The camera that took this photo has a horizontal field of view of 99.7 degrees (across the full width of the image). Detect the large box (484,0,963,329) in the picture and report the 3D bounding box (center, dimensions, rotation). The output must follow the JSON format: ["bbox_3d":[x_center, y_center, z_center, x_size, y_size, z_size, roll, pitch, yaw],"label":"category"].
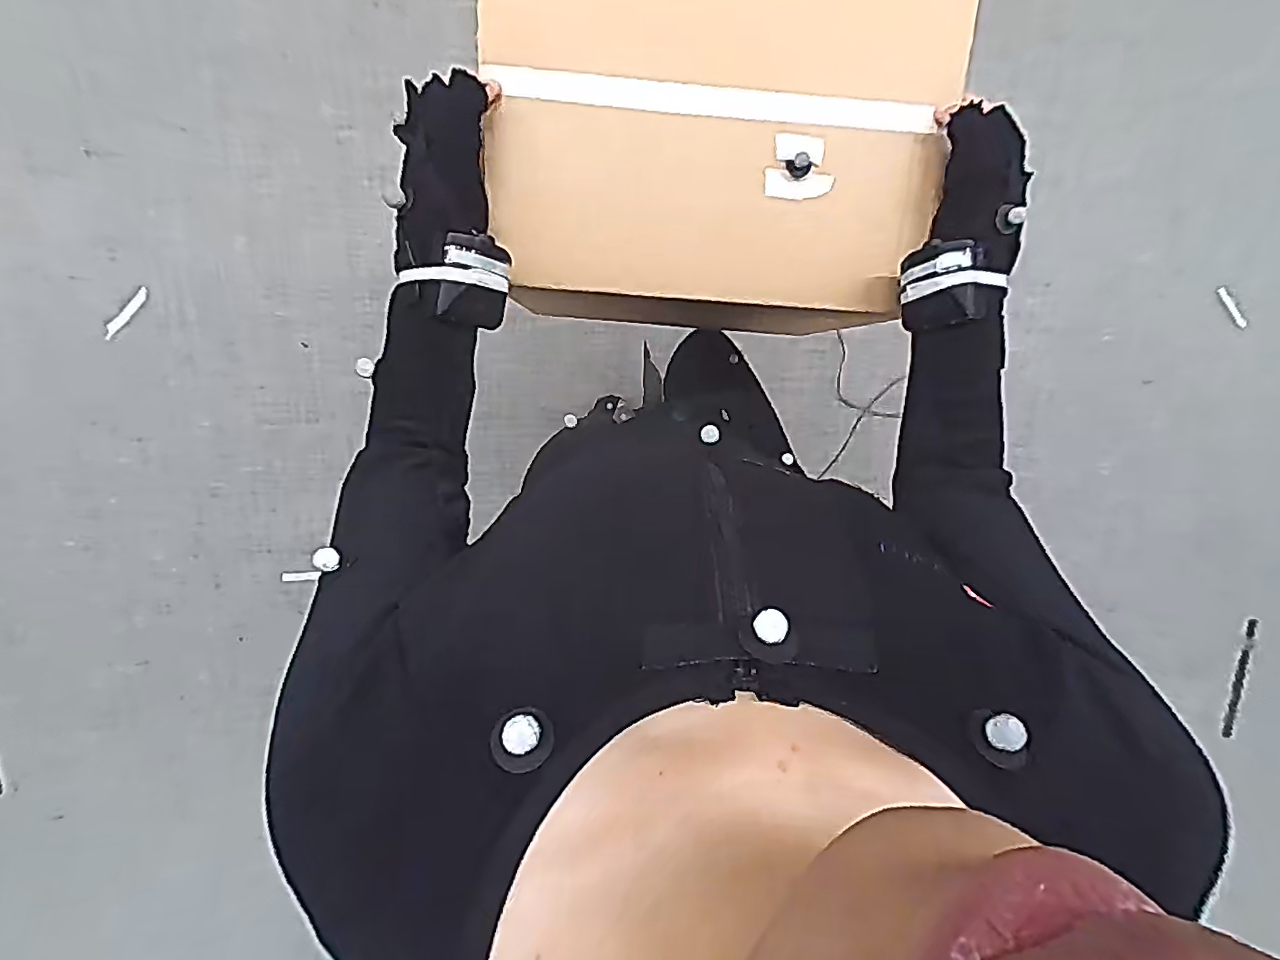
[{"bbox_3d":[0.059,-0.349,0.603,0.408,0.320,0.320,3,101,-4],"label":"large box"}]
